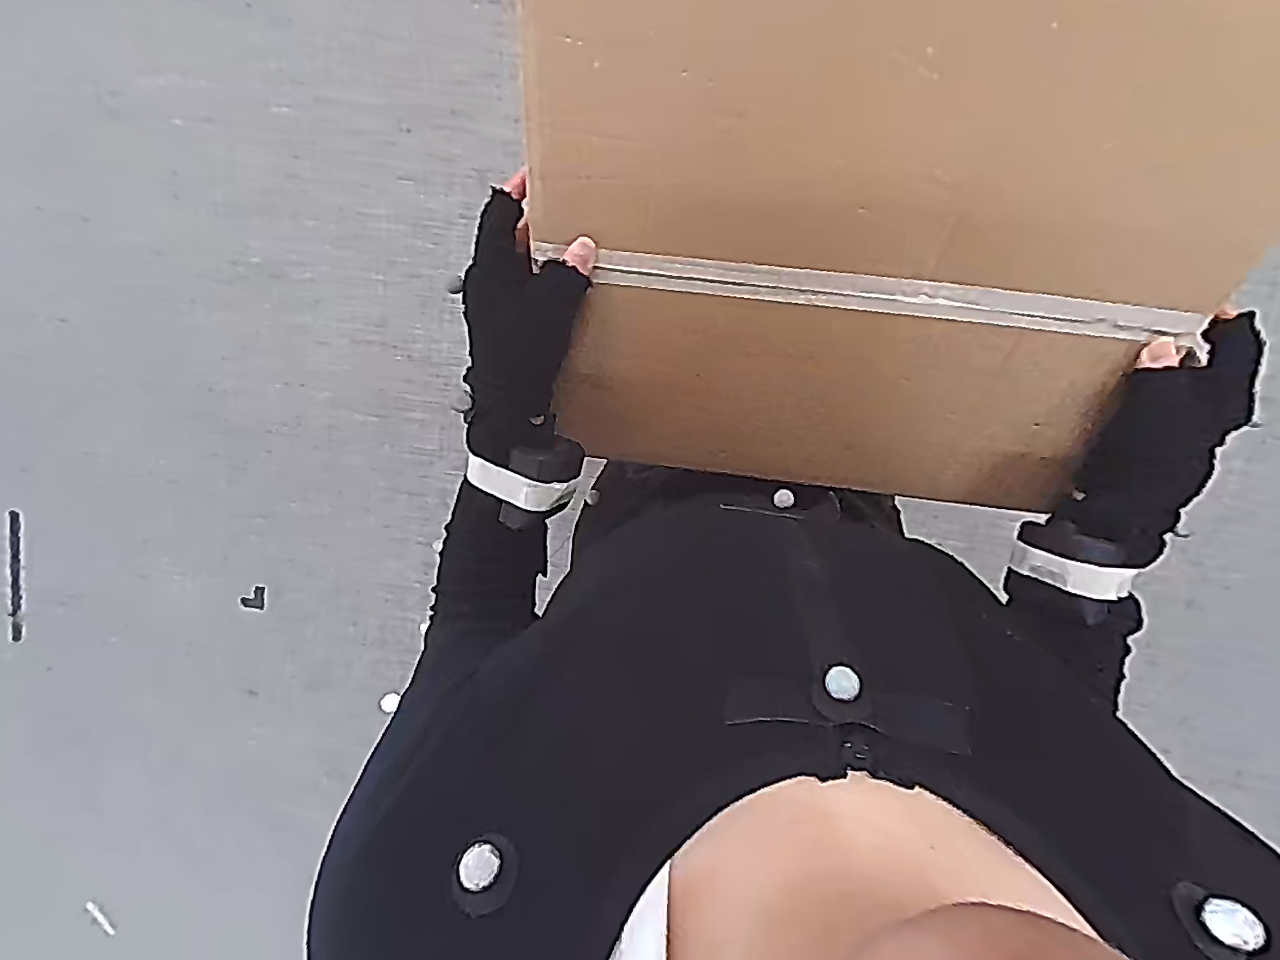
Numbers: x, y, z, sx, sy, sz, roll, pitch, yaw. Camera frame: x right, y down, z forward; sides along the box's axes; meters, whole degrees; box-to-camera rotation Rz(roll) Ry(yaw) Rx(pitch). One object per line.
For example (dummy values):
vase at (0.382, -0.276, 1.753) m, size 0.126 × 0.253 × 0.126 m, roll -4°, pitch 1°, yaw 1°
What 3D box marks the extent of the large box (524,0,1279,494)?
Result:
large box at (0.145, -0.220, 0.452) m, size 0.408 × 0.320 × 0.320 m, roll 7°, pitch 133°, yaw 2°
